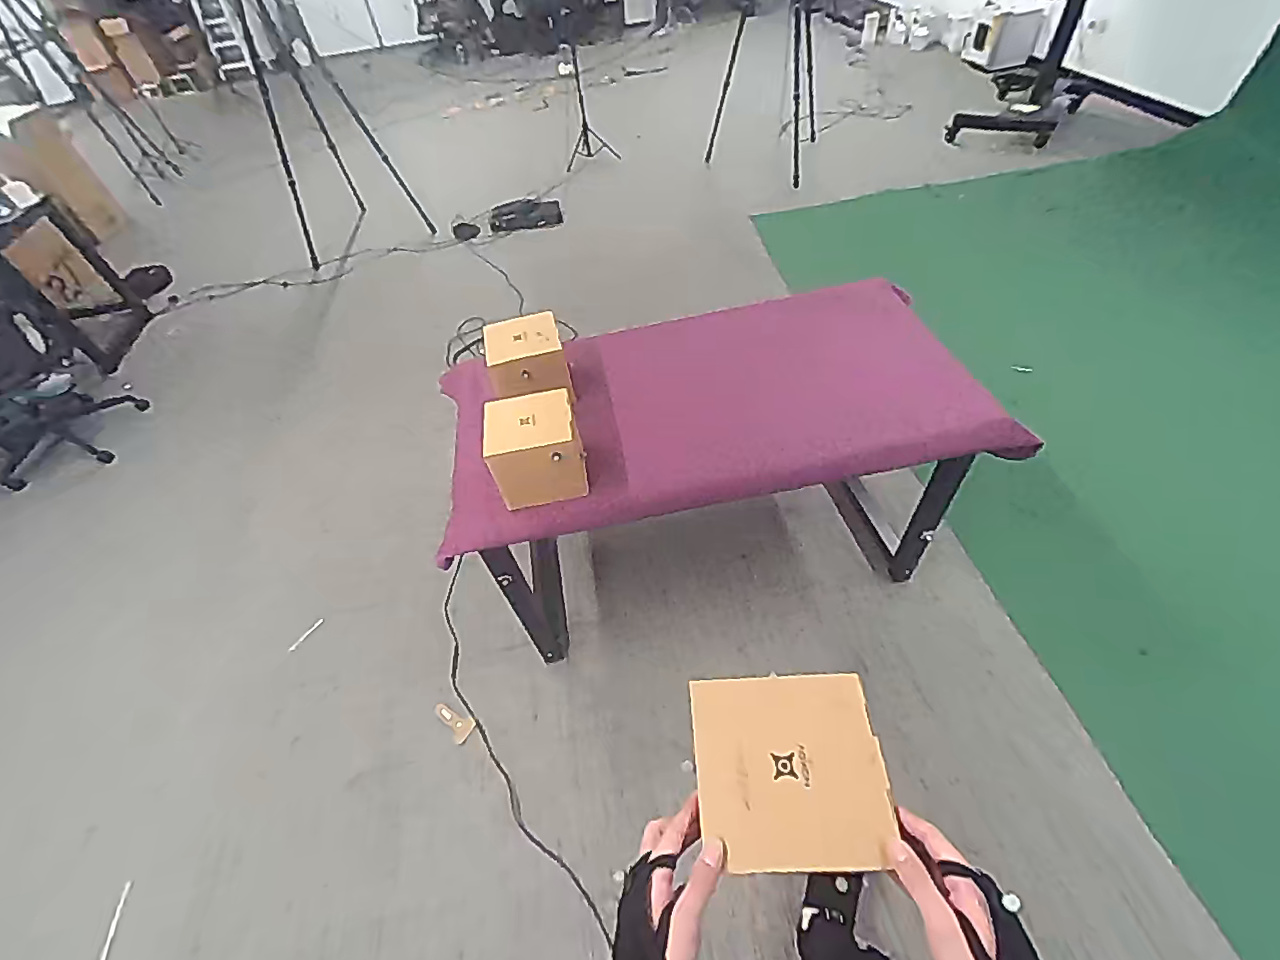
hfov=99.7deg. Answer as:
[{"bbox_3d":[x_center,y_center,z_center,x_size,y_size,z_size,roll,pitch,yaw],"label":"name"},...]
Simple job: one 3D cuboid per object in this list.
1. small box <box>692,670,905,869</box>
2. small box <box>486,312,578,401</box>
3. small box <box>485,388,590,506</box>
[{"bbox_3d":[0.146,0.308,0.571,0.179,0.176,0.168,-4,54,5],"label":"small box"},{"bbox_3d":[-0.261,-0.279,1.319,0.179,0.176,0.168,-14,50,-4],"label":"small box"},{"bbox_3d":[-0.211,-0.064,1.131,0.179,0.176,0.168,-11,48,-3],"label":"small box"}]
